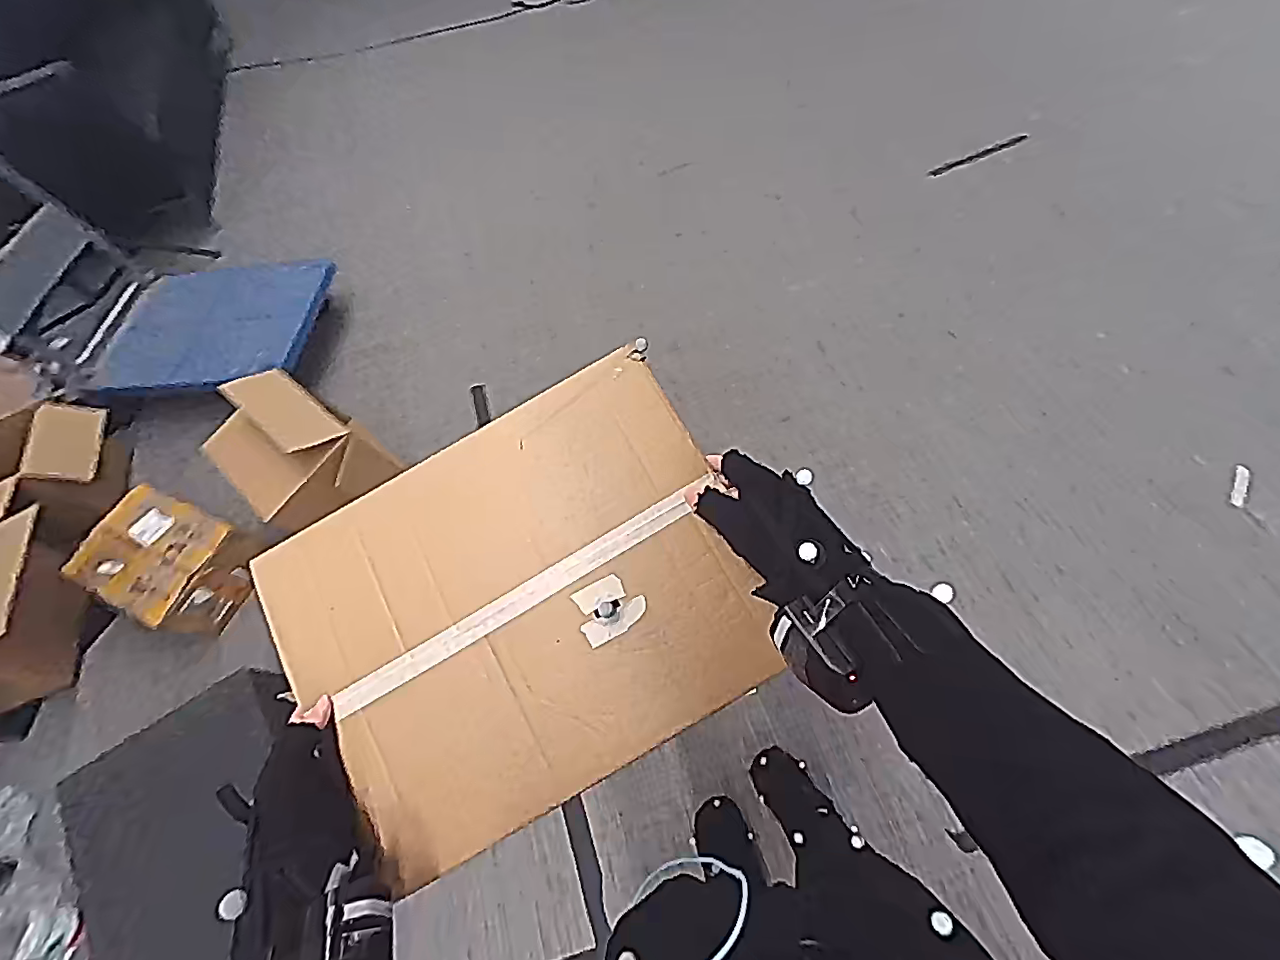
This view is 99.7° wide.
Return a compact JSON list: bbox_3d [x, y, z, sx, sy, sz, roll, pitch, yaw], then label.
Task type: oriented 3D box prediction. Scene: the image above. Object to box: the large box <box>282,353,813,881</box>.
[{"bbox_3d":[-0.084,0.136,0.623,0.408,0.320,0.320,-30,76,-2],"label":"large box"}]
